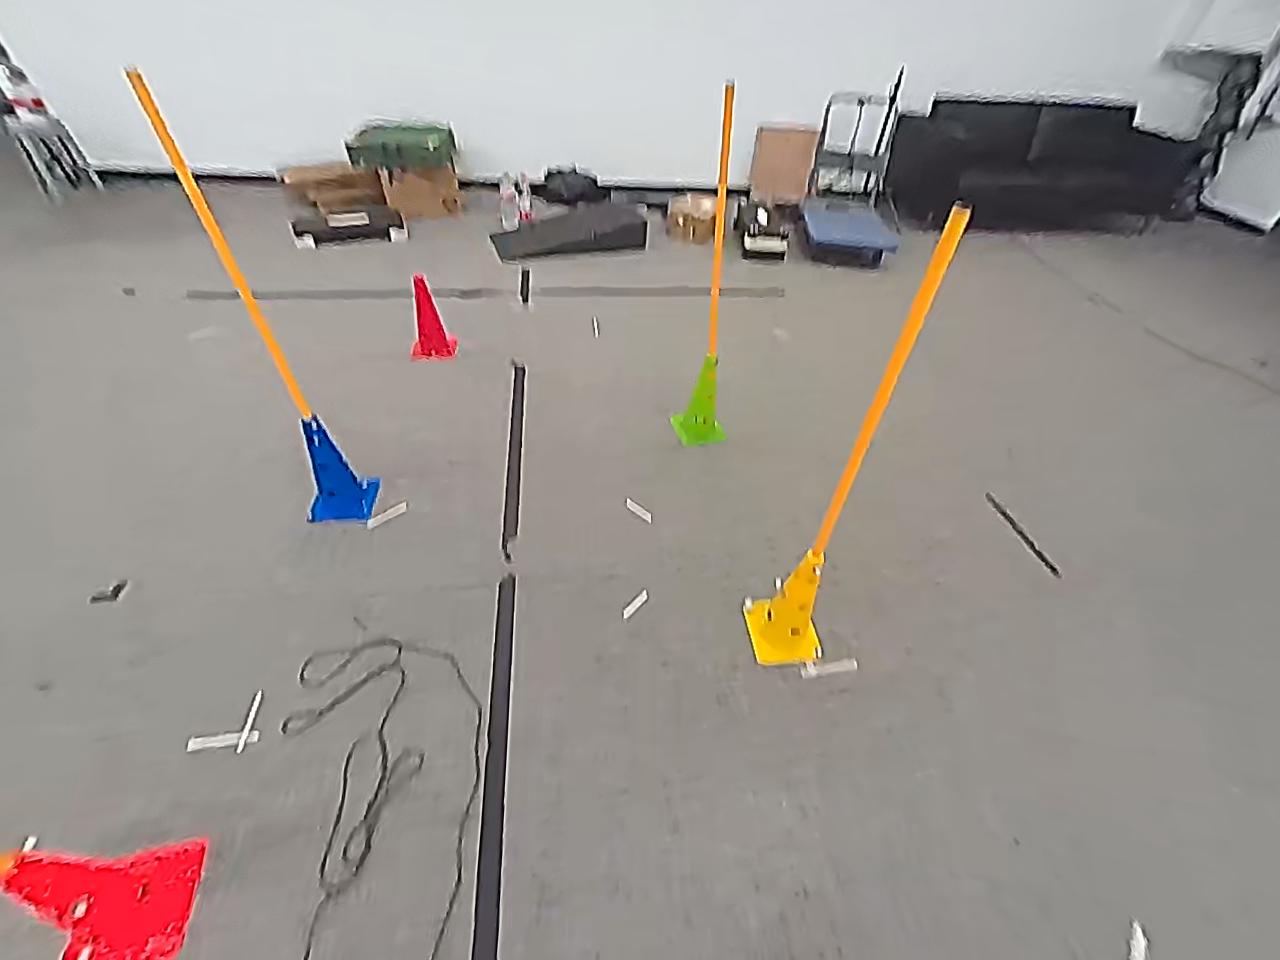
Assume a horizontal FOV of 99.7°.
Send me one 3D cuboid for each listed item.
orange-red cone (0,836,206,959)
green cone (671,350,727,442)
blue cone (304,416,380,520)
[{"bbox_3d":[-0.971,0.699,0.939,0.199,0.360,0.198,-5,45,-13],"label":"orange-red cone"},{"bbox_3d":[0.262,-0.358,2.175,0.200,0.368,0.202,-10,47,-15],"label":"green cone"},{"bbox_3d":[-1.001,-0.053,1.755,0.193,0.380,0.192,-1,44,-6],"label":"blue cone"}]
